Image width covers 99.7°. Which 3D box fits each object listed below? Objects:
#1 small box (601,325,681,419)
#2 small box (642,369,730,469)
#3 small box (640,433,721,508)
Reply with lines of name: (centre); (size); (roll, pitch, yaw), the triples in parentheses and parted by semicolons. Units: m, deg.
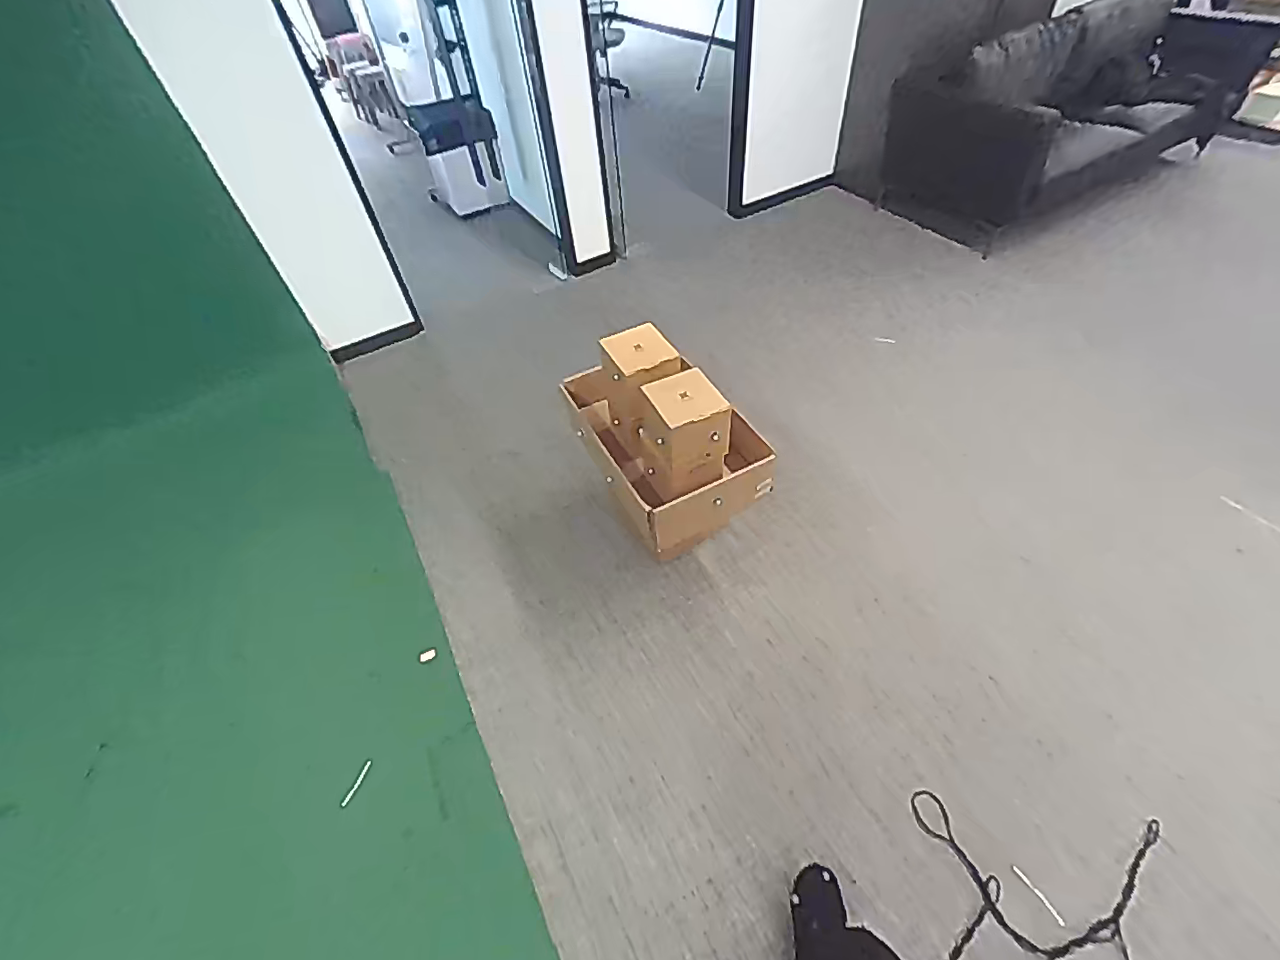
small box: (0.002, -0.304, 1.532); (0.168, 0.176, 0.179); (-23, 53, -15)
small box: (0.116, -0.148, 1.382); (0.168, 0.176, 0.179); (-20, 50, -13)
small box: (0.116, -0.043, 1.507); (0.168, 0.176, 0.179); (-23, 50, -14)
